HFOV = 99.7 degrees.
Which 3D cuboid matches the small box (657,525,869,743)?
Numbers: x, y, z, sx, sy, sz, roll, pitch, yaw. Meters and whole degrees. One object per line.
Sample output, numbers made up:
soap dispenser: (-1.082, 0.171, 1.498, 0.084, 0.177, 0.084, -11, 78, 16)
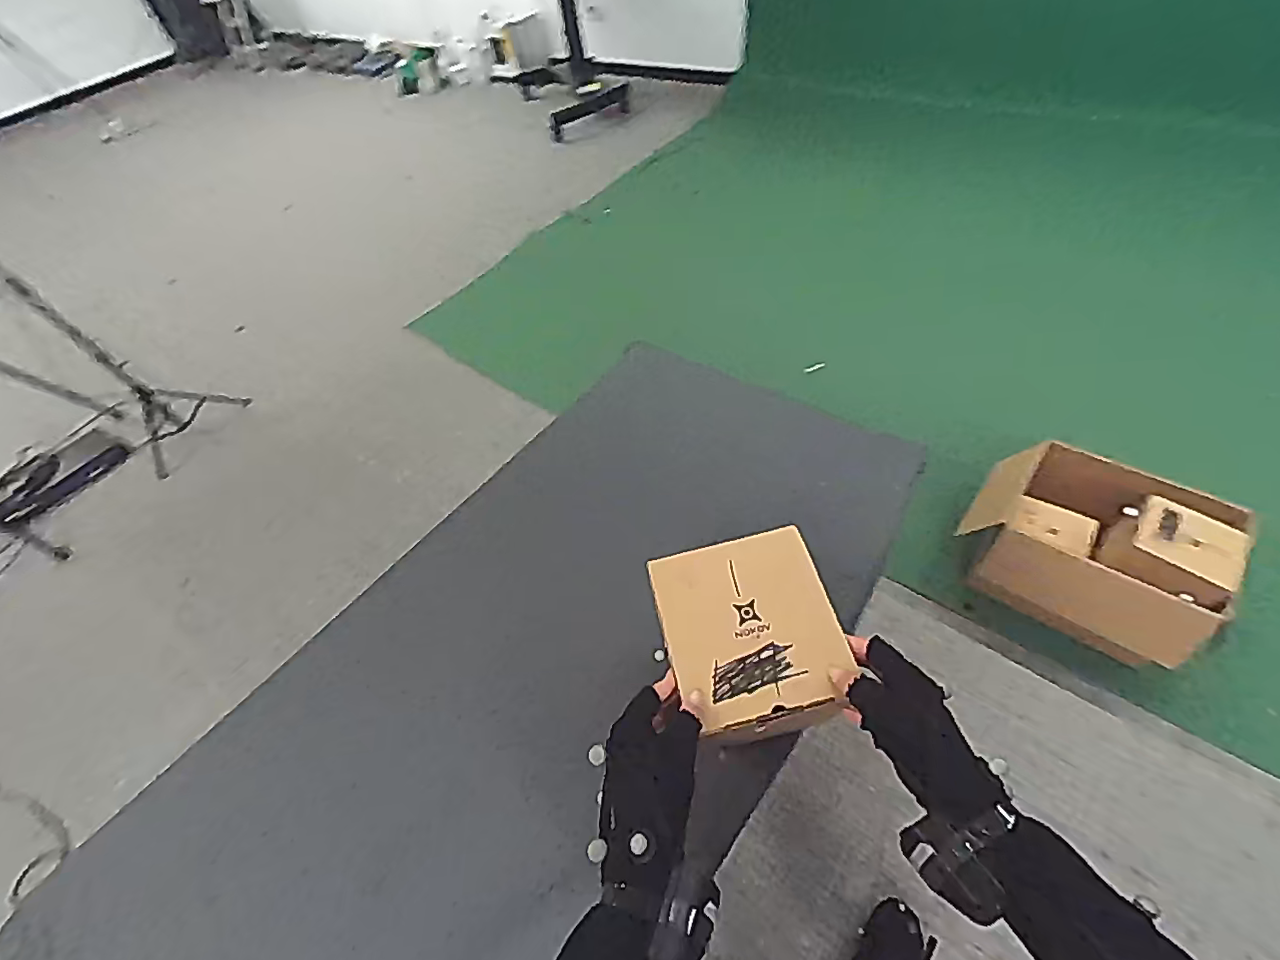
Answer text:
small box: (0.121, 0.177, 0.593, 0.168, 0.176, 0.179, -13, 57, -1)
